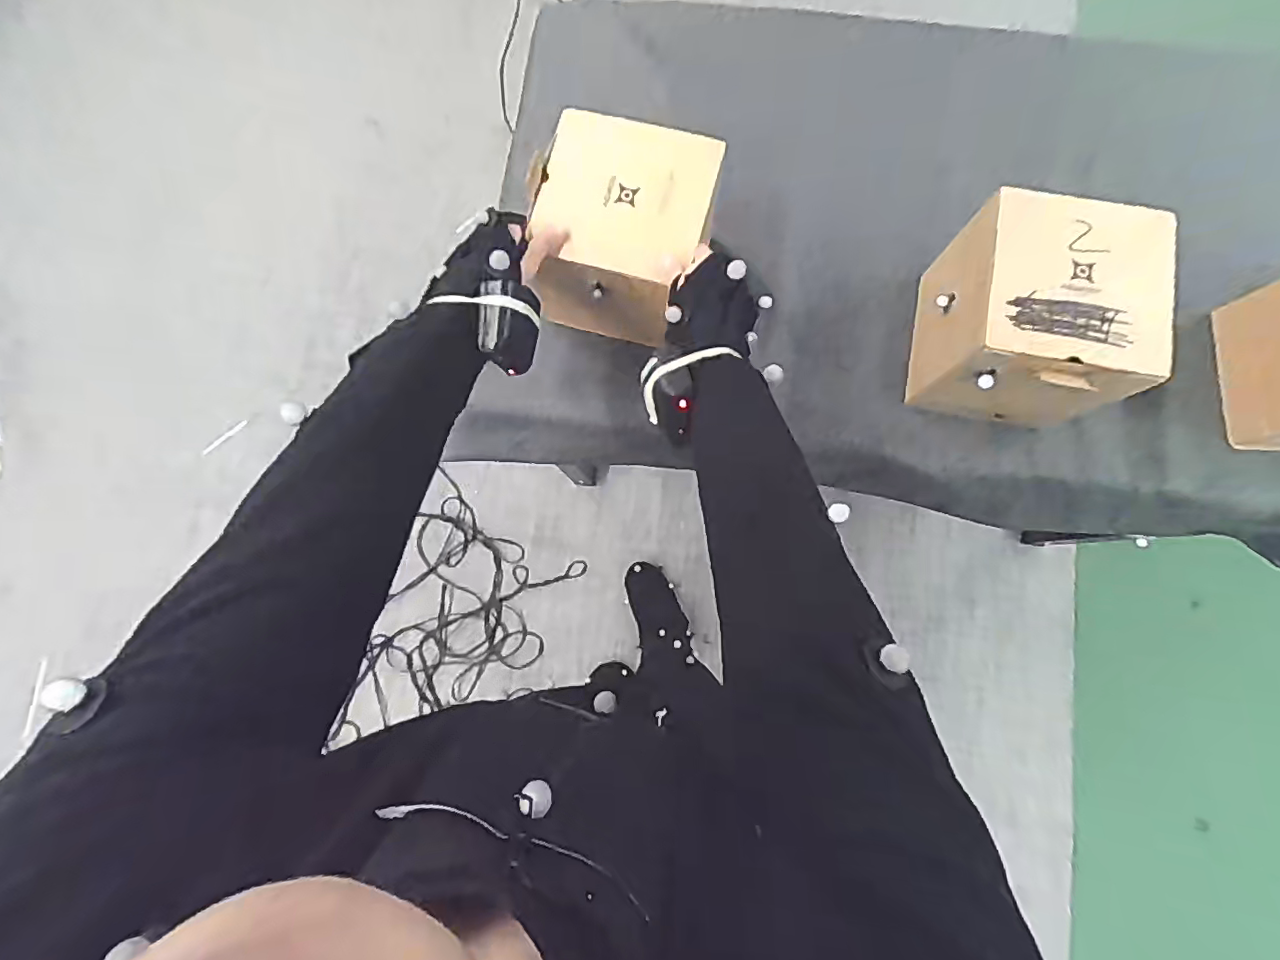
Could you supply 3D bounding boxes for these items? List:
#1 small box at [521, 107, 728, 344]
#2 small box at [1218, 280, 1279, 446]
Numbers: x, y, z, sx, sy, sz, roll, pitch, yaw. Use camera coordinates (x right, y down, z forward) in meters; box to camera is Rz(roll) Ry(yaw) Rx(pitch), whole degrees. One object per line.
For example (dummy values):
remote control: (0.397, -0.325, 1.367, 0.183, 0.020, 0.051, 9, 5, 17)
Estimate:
small box: (-0.013, -0.275, 0.619, 0.179, 0.176, 0.168, 15, 83, 3)
small box: (0.775, -0.138, 0.568, 0.168, 0.176, 0.179, 2, 81, 3)
